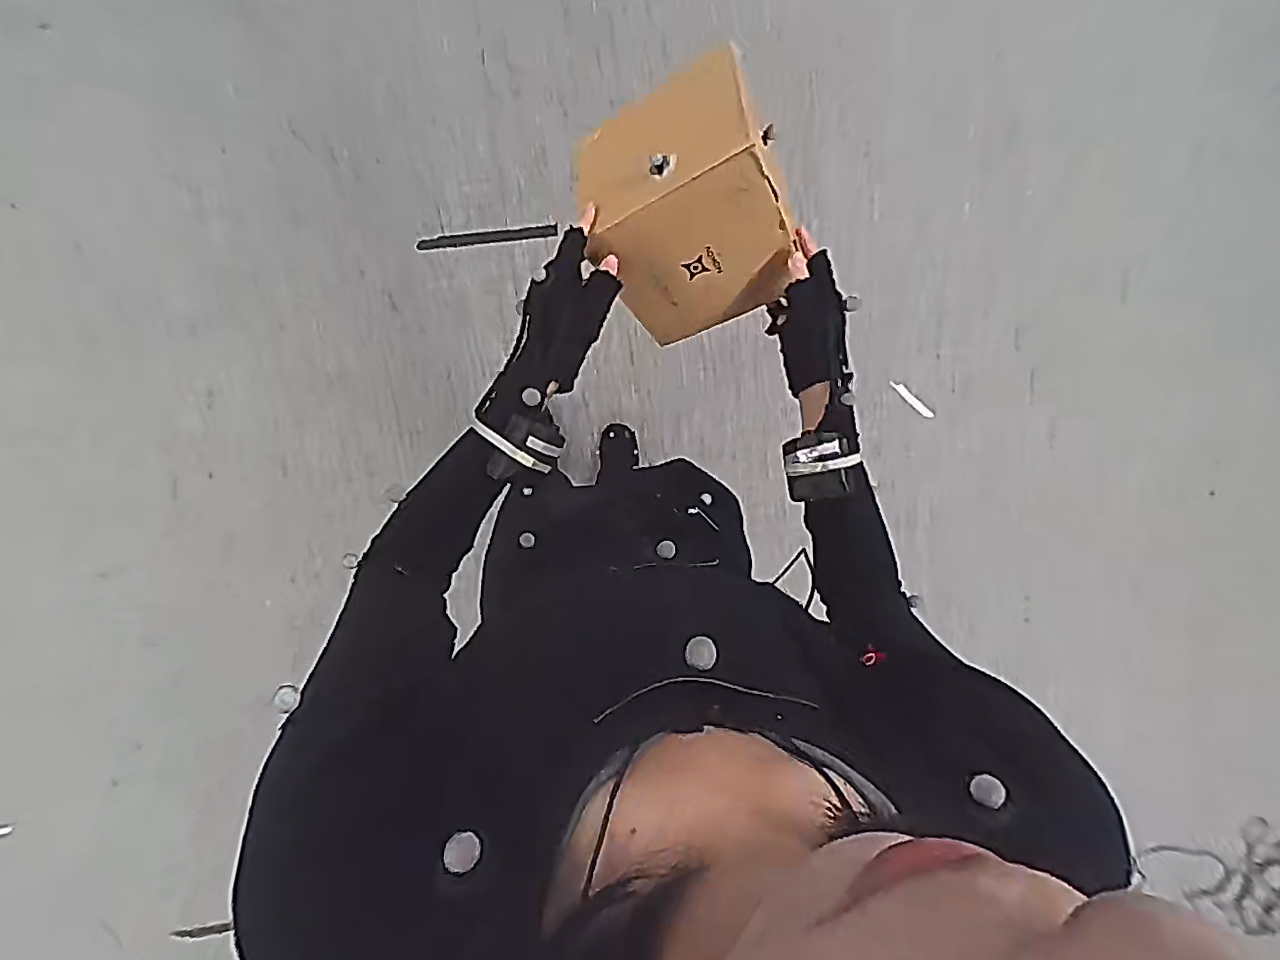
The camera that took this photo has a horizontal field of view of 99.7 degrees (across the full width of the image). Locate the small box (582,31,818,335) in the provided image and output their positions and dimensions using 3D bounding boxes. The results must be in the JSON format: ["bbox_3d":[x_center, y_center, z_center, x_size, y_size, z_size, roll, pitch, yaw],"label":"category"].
[{"bbox_3d":[0.057,-0.286,0.540,0.179,0.168,0.176,-17,58,27],"label":"small box"}]
